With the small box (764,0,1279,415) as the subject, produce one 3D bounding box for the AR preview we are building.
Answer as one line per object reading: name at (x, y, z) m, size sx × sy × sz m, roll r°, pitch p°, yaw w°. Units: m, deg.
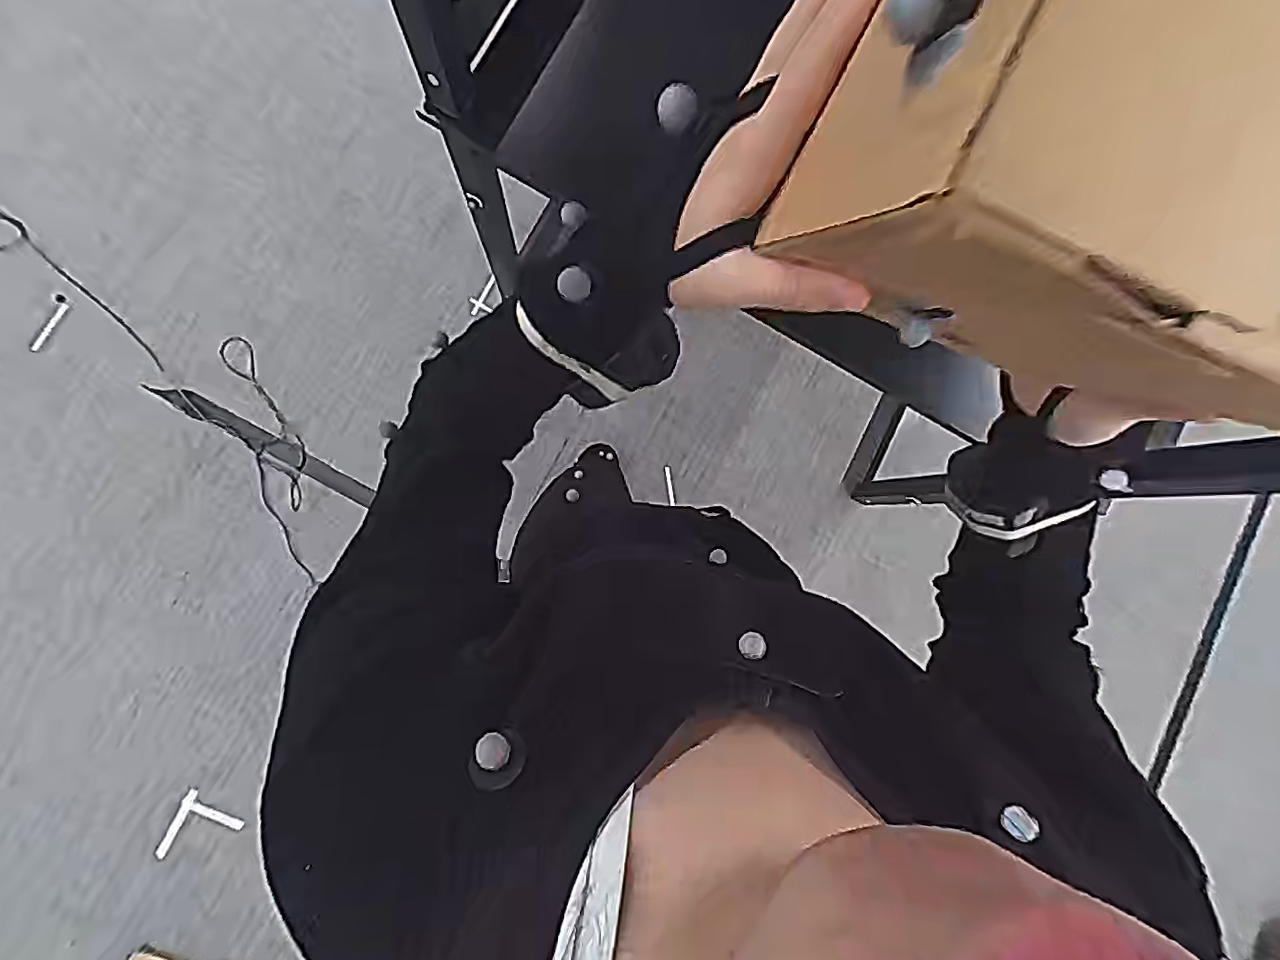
small box at (0.156, -0.131, 0.155) m, size 0.168 × 0.176 × 0.179 m, roll 18°, pitch 109°, yaw -10°
